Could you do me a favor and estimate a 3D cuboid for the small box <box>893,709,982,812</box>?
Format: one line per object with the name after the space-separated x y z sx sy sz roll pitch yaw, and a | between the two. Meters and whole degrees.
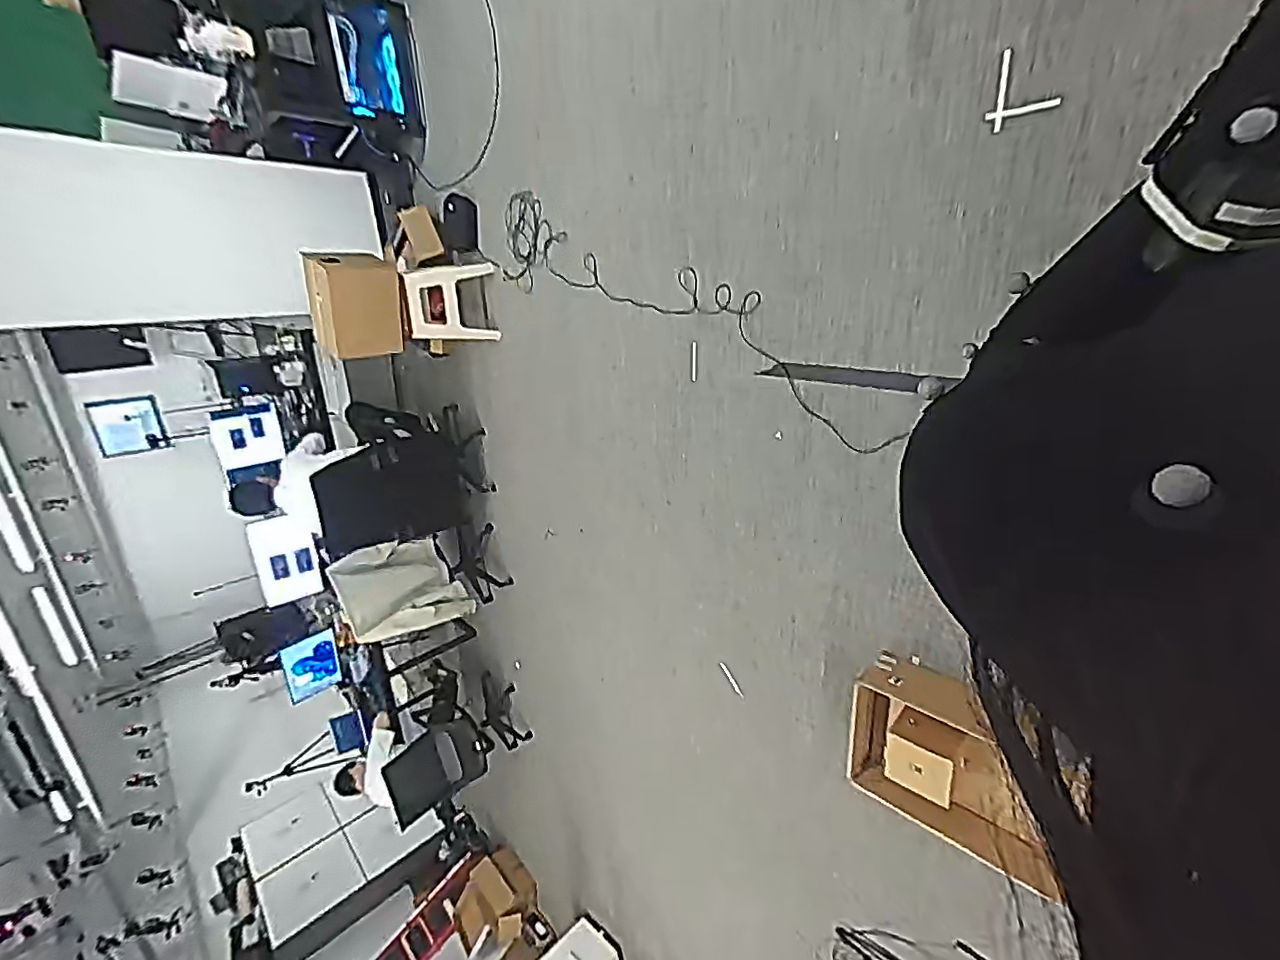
0.851 0.790 1.551 0.179 0.176 0.168 11 114 44 | small box
